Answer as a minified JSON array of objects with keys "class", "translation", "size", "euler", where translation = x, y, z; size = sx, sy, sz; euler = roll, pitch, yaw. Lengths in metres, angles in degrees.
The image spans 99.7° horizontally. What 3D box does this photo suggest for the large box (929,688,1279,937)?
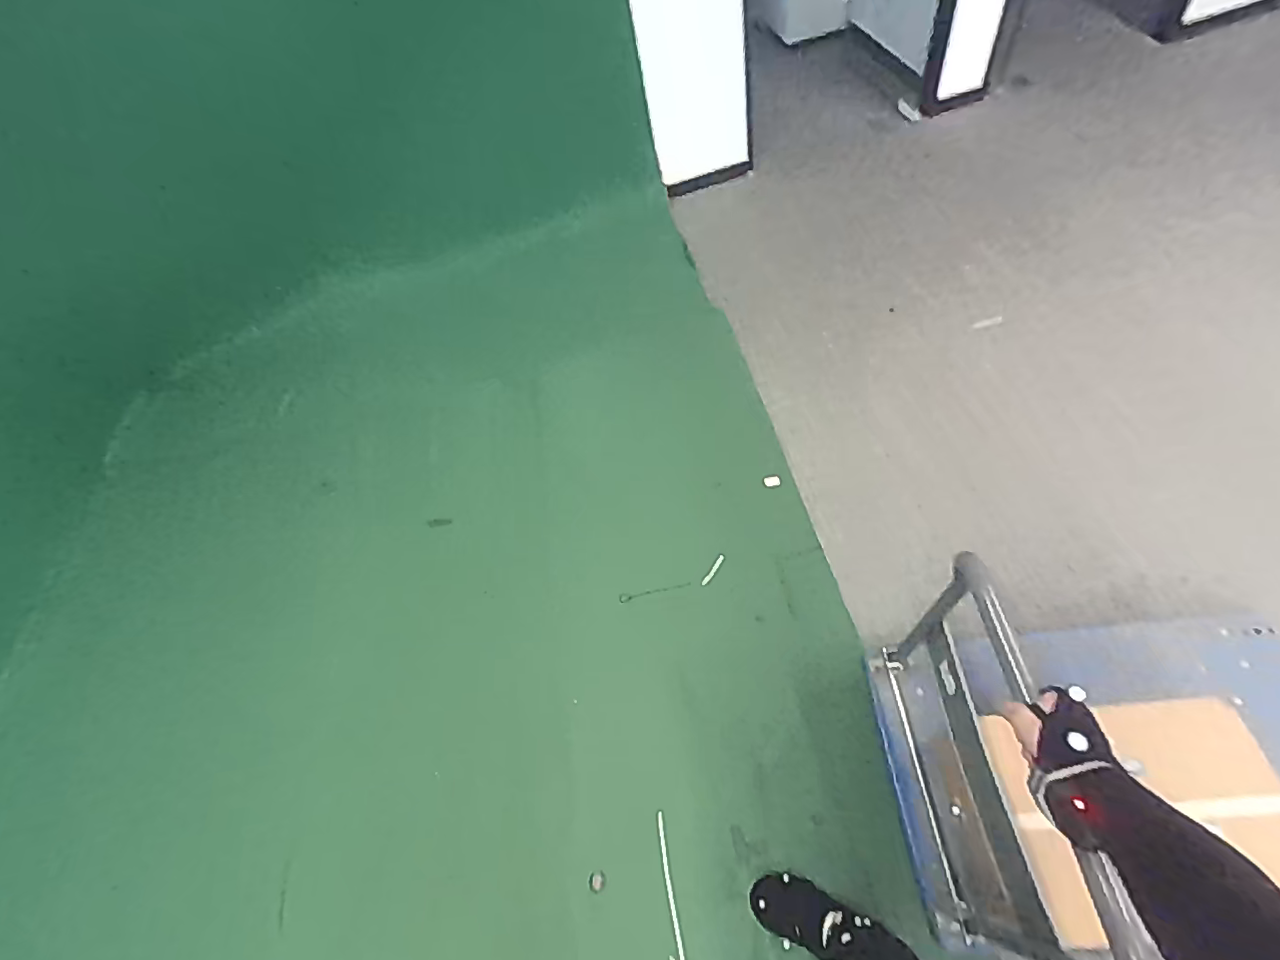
[{"class":"large box","translation":[0.816,0.590,0.975],"size":[0.408,0.320,0.320],"euler":[-9,57,7]}]
